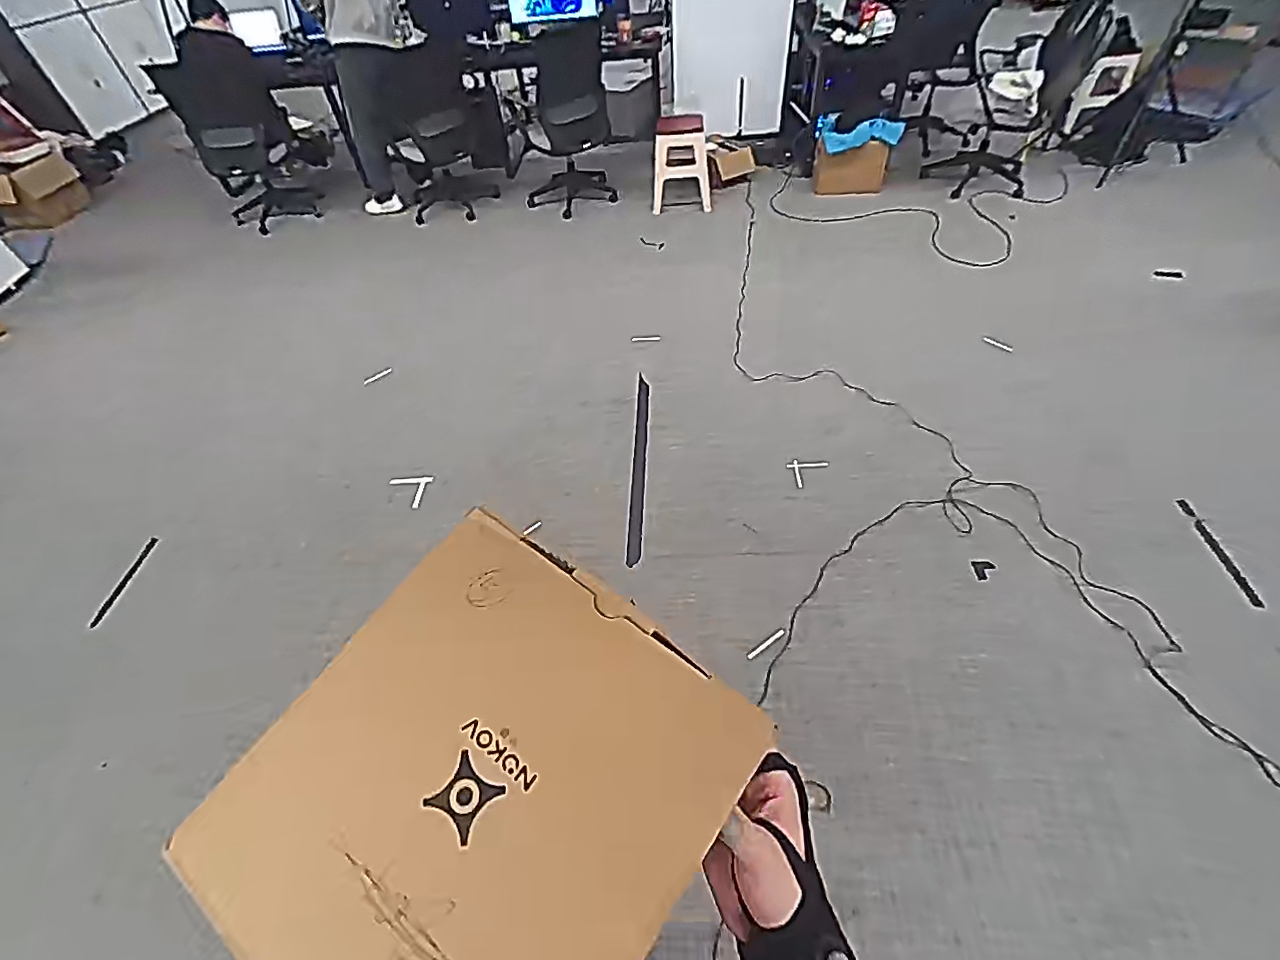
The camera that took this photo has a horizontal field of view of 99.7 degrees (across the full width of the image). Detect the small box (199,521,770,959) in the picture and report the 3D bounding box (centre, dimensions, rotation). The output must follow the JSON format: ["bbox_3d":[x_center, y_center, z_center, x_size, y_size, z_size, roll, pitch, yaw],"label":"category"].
[{"bbox_3d":[-0.055,0.157,0.287,0.168,0.176,0.179,31,71,19],"label":"small box"}]
